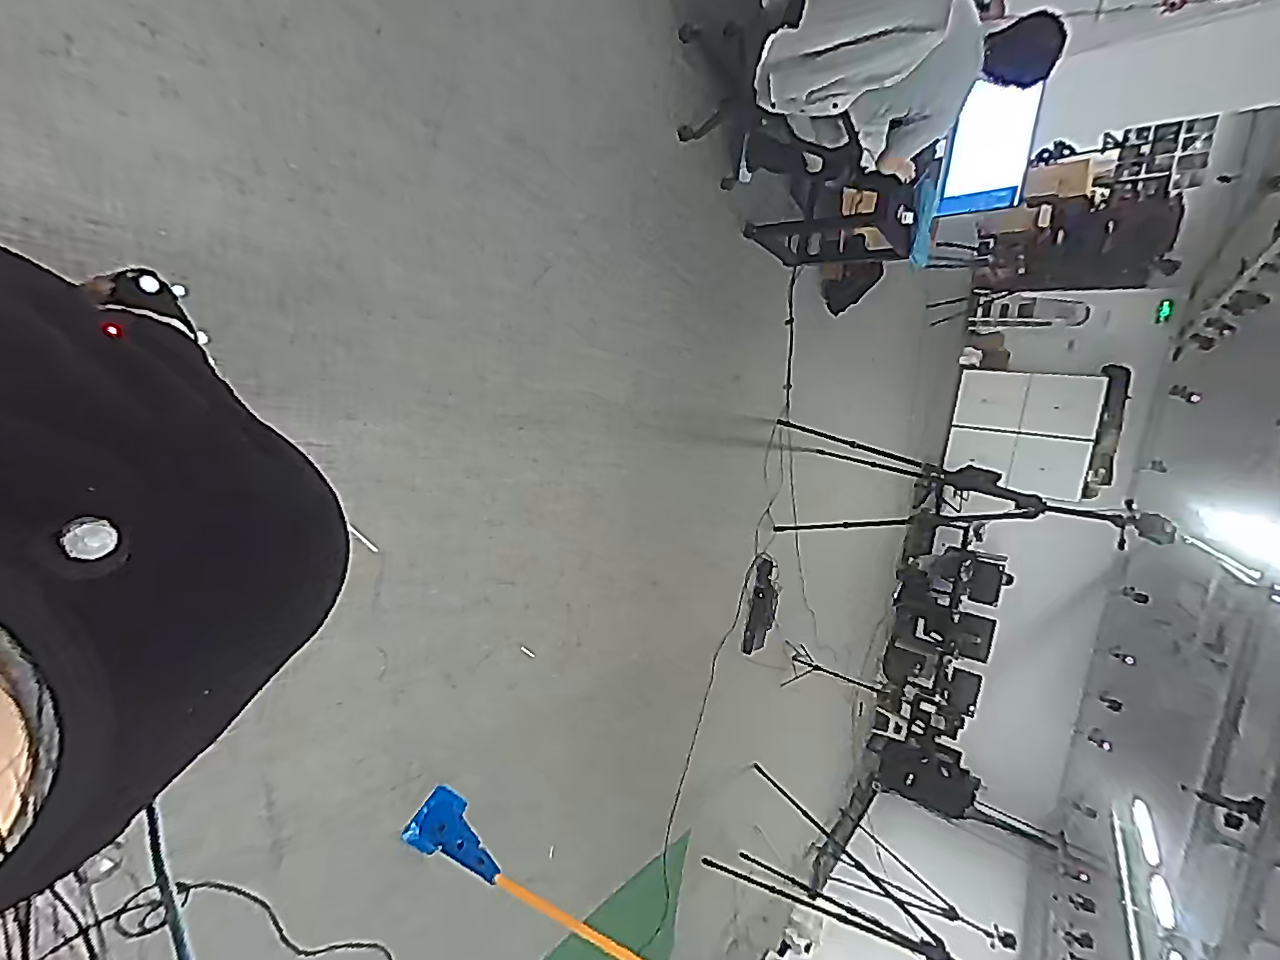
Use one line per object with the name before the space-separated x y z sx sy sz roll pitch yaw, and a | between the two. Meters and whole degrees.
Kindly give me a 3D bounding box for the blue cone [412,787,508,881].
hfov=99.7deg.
blue cone | -0.592 1.250 1.860 0.193 0.380 0.192 -54 136 -30
